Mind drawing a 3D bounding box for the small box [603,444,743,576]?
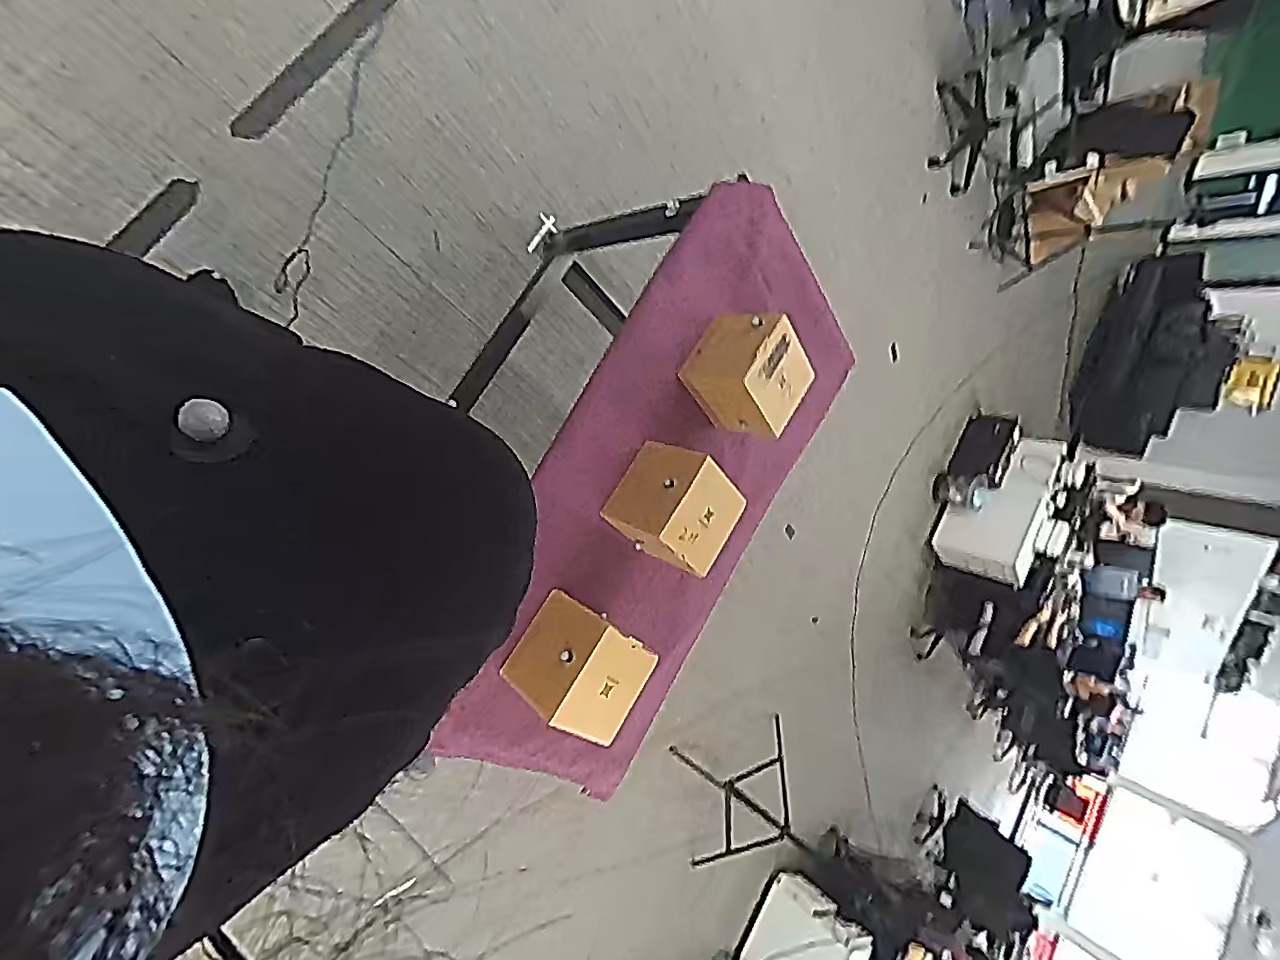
[{"bbox_3d":[0.061,0.050,1.036,0.168,0.176,0.179,45,72,-40],"label":"small box"}]

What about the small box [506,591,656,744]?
[{"bbox_3d":[-0.112,0.328,0.962,0.168,0.176,0.179,46,70,-41],"label":"small box"}]
